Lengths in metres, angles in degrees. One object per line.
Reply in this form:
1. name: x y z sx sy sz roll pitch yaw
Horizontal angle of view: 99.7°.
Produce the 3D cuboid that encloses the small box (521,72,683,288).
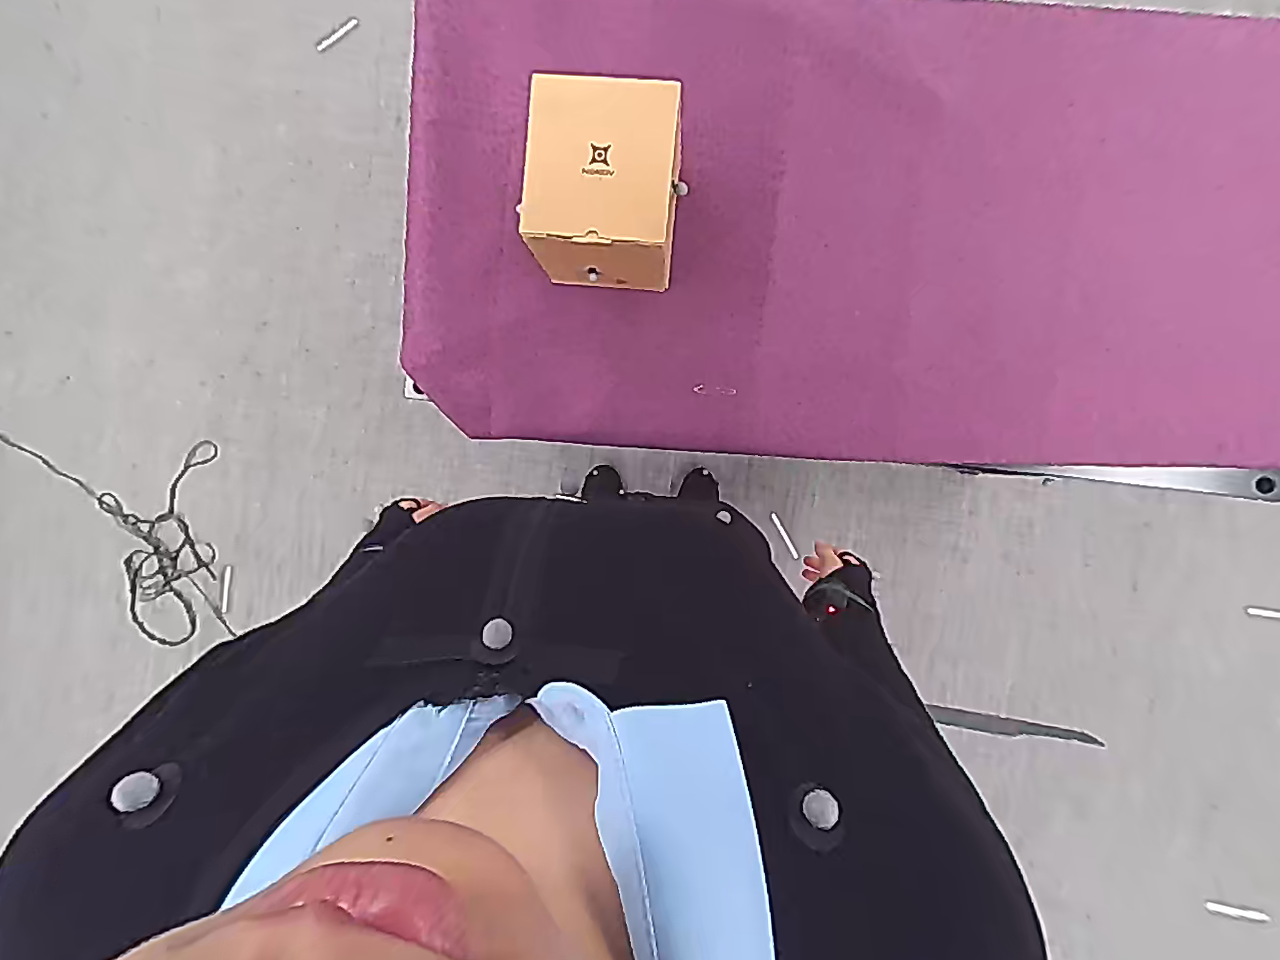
1. small box: -0.039 -0.356 0.671 0.168 0.176 0.179 5 94 3
